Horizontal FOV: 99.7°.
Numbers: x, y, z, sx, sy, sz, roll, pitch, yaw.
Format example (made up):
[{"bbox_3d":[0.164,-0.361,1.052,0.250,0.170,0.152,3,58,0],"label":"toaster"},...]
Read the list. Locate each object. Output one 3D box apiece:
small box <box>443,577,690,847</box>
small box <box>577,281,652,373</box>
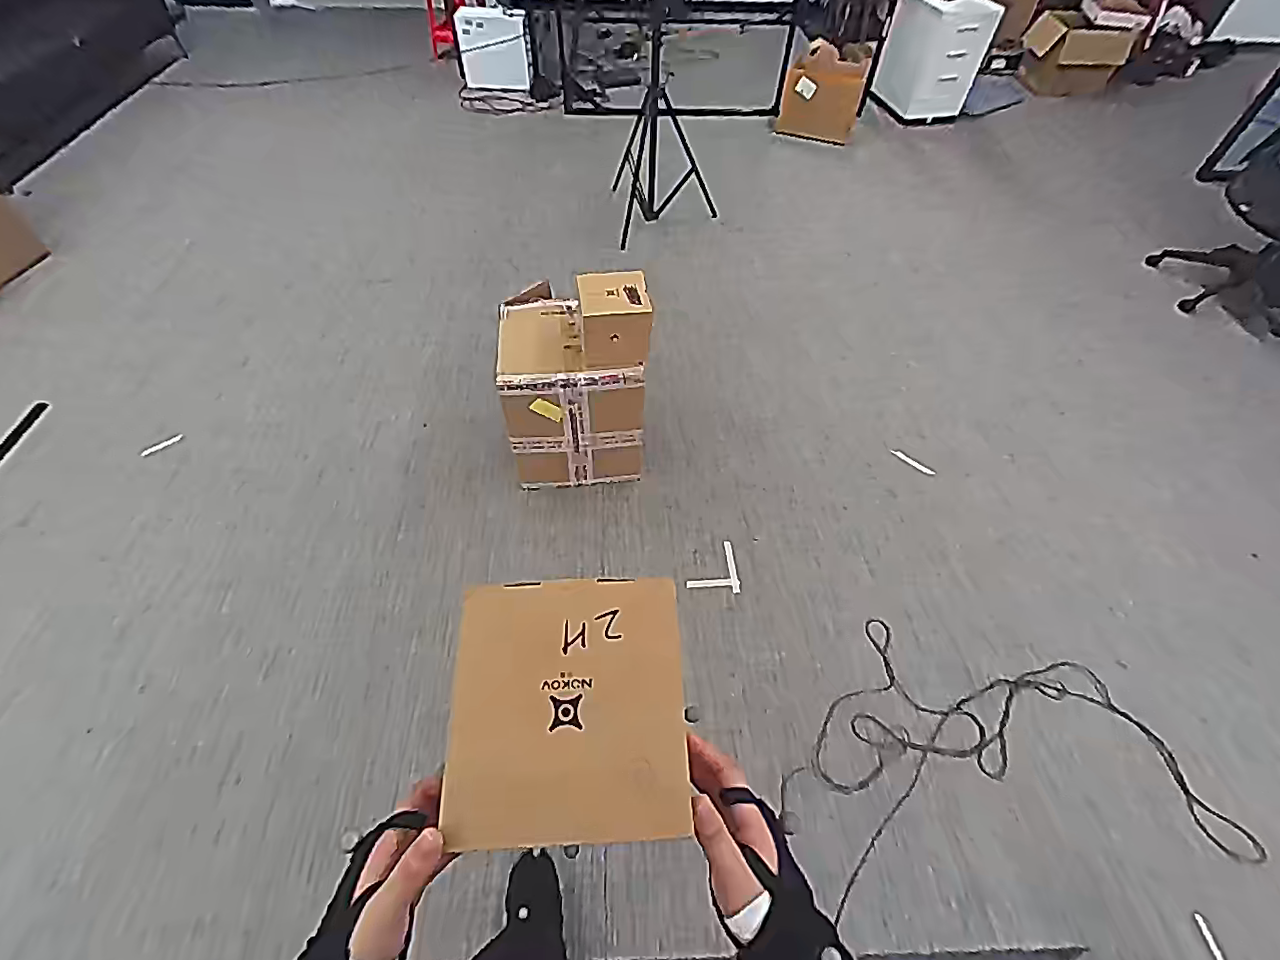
[{"bbox_3d":[-0.050,0.195,0.460,0.168,0.176,0.179,-2,60,-2],"label":"small box"},{"bbox_3d":[-0.071,-0.402,1.429,0.179,0.176,0.168,-6,56,-7],"label":"small box"}]
